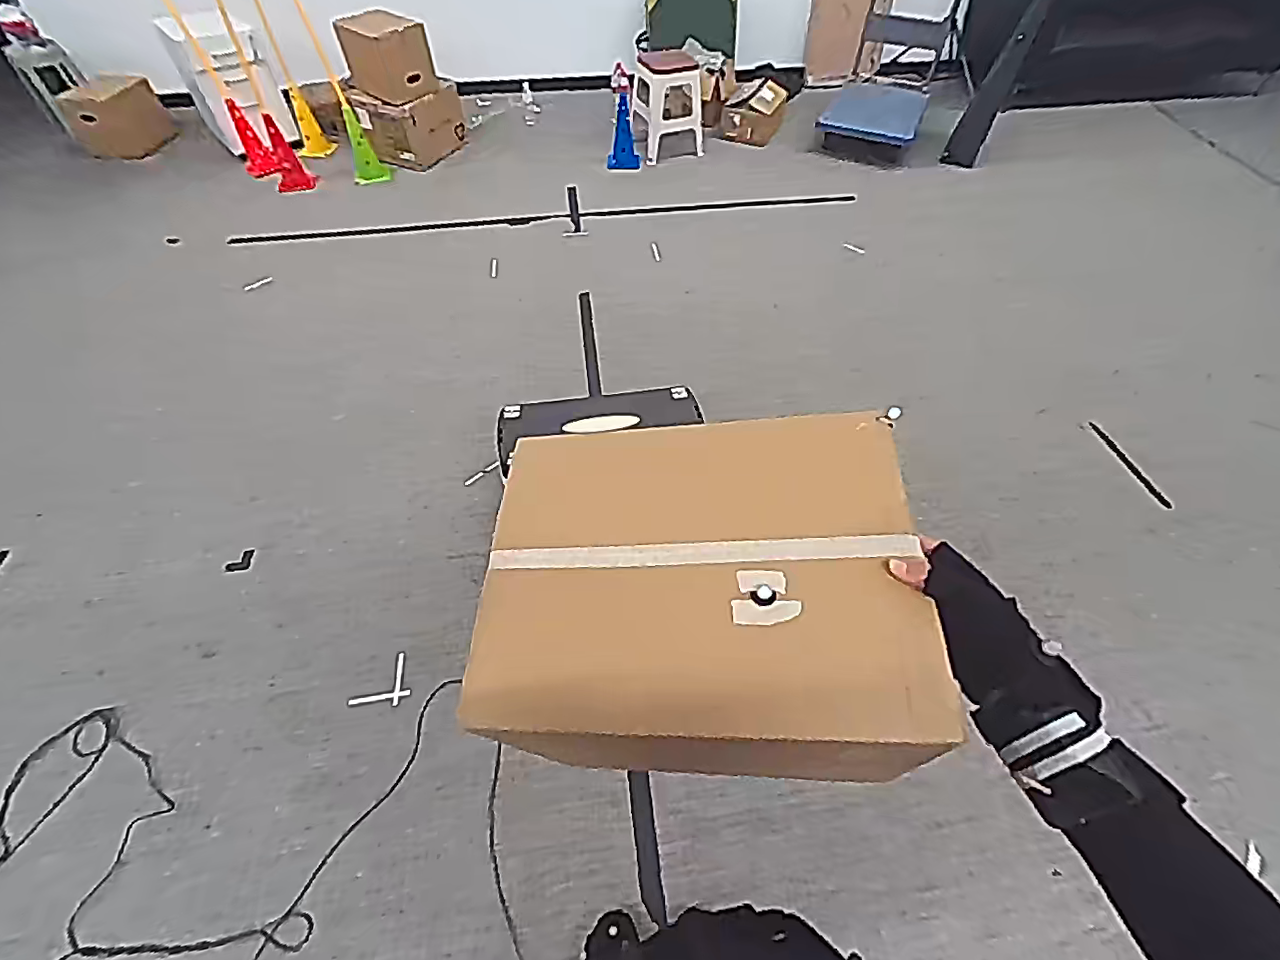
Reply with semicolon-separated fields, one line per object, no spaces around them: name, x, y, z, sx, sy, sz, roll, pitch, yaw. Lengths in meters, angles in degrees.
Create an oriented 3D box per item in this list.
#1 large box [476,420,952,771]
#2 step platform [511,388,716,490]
large box;0.078;0.158;0.649;0.408;0.320;0.320;-3;57;11
step platform;-0.088;-0.124;1.835;0.684;0.204;0.286;-8;53;-7
